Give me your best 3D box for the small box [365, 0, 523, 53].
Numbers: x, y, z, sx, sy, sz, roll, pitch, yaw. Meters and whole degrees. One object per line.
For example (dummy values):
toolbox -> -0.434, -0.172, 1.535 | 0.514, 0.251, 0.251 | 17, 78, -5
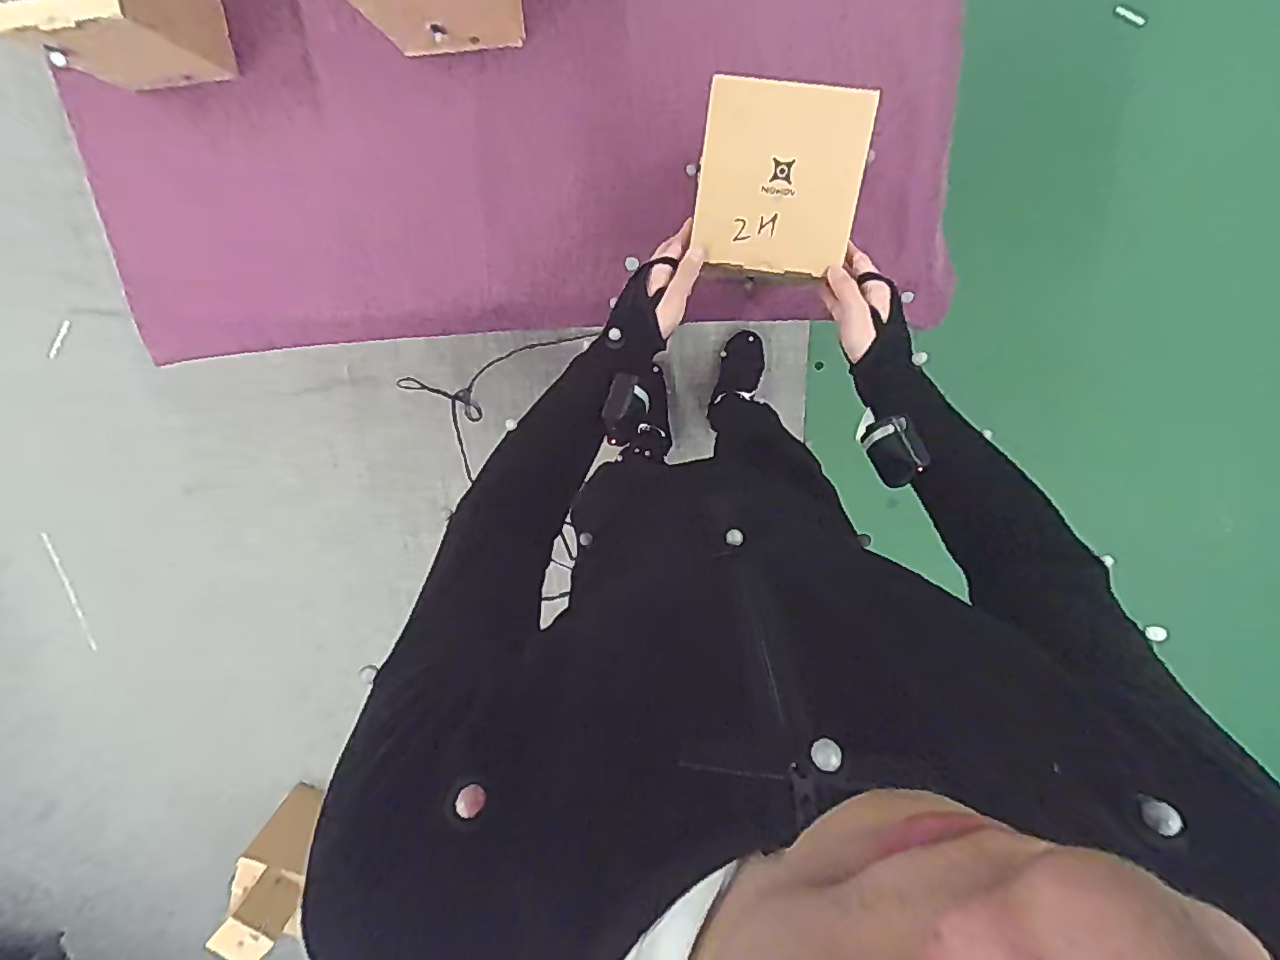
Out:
small box -> -0.238, -0.624, 0.608 | 0.168, 0.176, 0.179 | -2, 108, 3

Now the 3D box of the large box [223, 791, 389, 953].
large box -> -1.228, 1.443, 2.011 | 0.408, 0.320, 0.320 | 21, 108, -4

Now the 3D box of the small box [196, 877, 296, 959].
small box -> -1.272, 1.454, 1.759 | 0.168, 0.176, 0.179 | 40, 104, -9

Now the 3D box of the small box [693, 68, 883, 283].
small box -> 0.153, -0.334, 0.627 | 0.168, 0.176, 0.179 | 8, 108, 3
